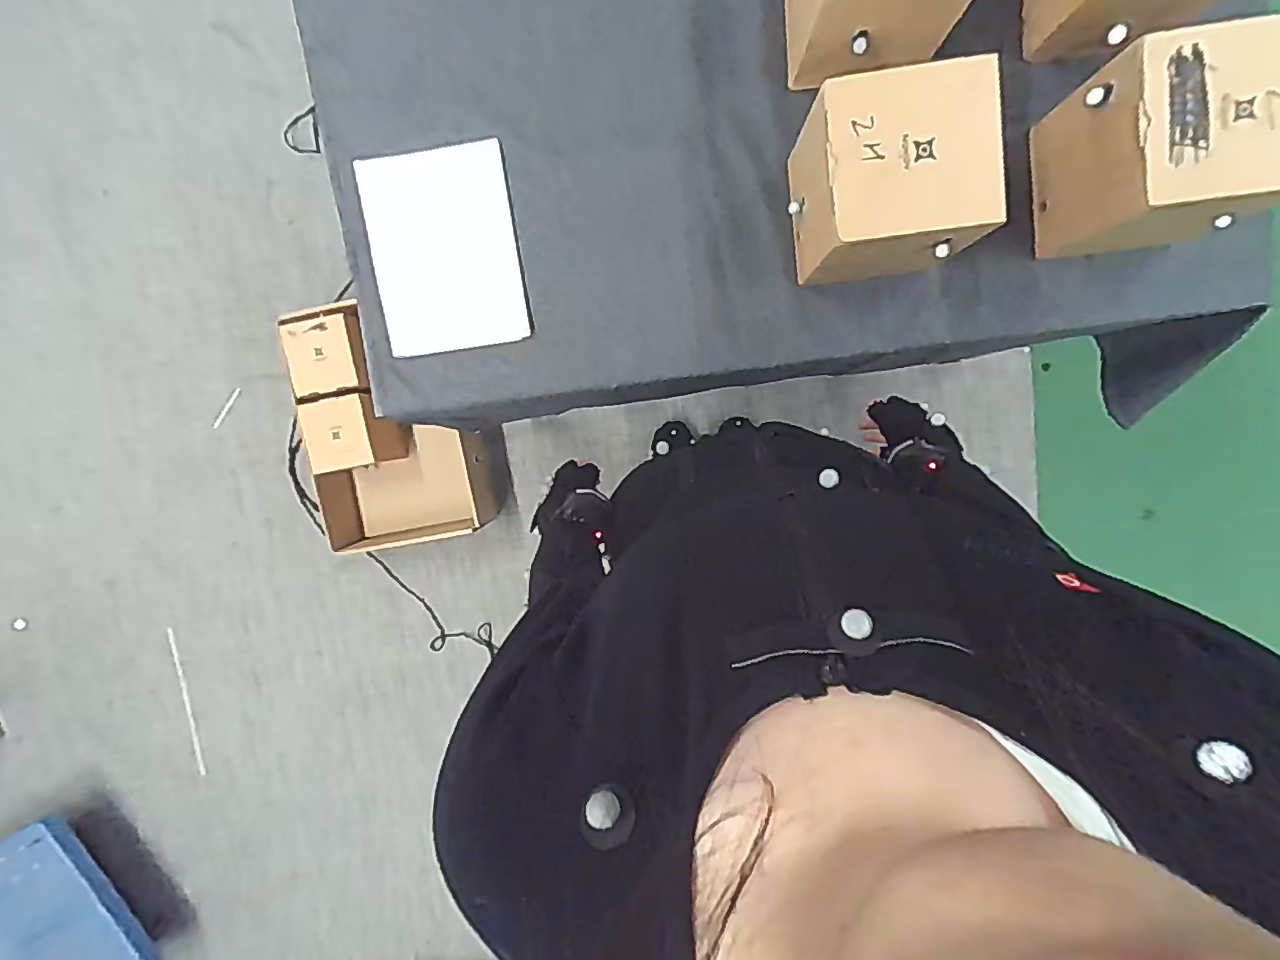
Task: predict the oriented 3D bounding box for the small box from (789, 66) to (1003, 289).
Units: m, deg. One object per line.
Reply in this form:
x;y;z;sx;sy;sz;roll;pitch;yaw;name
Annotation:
0.286;-0.336;0.636;0.179;0.176;0.168;-6;94;4;small box

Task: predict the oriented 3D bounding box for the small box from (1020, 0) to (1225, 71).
0.555;-0.603;0.597;0.168;0.176;0.179;-4;95;4;small box

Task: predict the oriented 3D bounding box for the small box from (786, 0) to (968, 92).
0.267;-0.580;0.619;0.168;0.176;0.179;-3;95;4;small box
